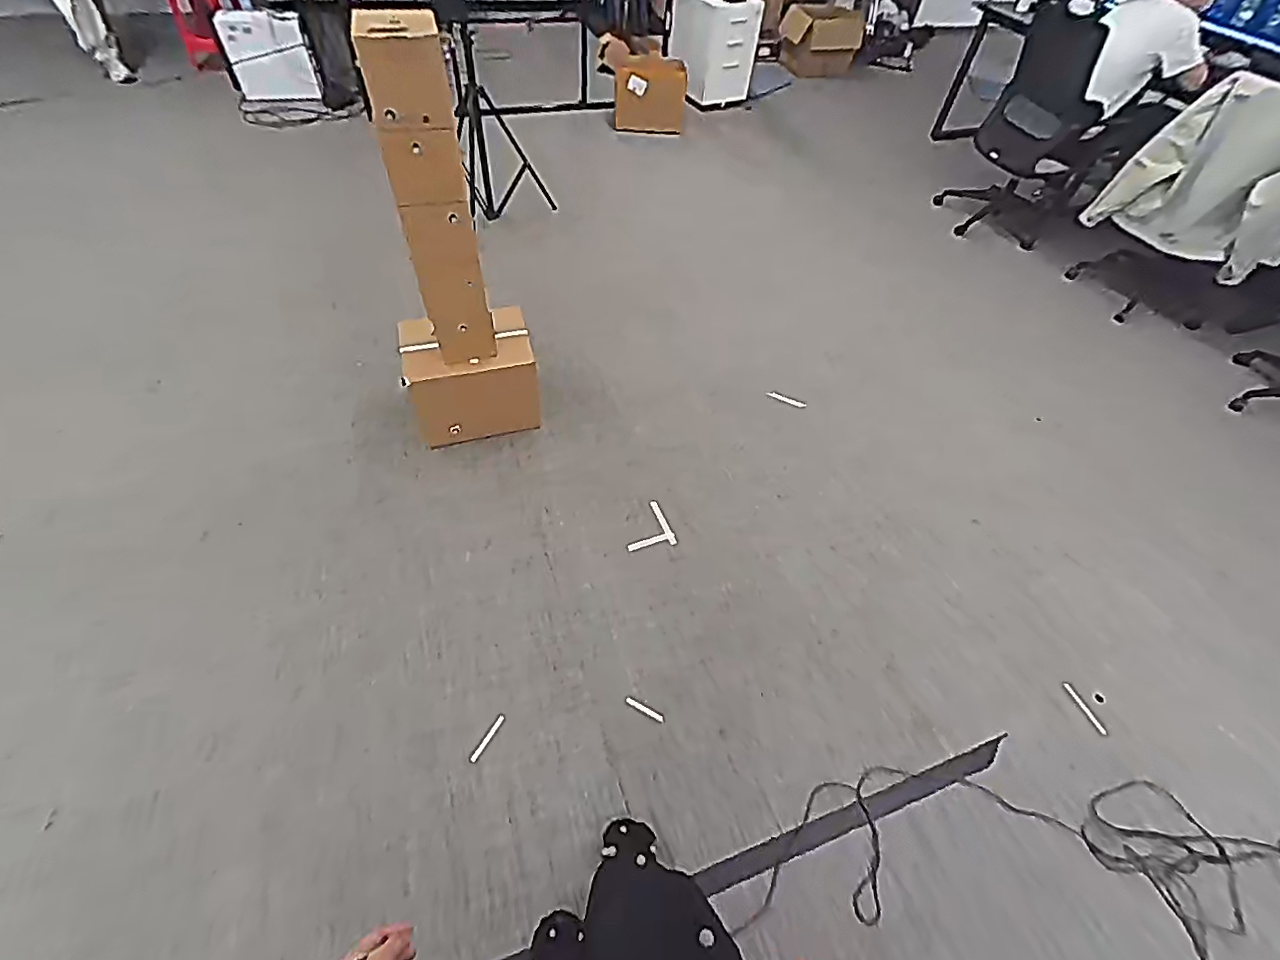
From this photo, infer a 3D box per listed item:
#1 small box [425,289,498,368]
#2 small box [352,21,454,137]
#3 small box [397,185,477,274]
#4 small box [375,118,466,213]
[{"bbox_3d":[-0.559,-0.473,1.701,0.179,0.176,0.168,-14,56,-17],"label":"small box"},{"bbox_3d":[-0.514,-0.873,1.184,0.168,0.176,0.179,-12,55,-13],"label":"small box"},{"bbox_3d":[-0.539,-0.674,1.441,0.179,0.176,0.168,-12,55,-14],"label":"small box"},{"bbox_3d":[-0.528,-0.773,1.313,0.179,0.176,0.168,-11,55,-13],"label":"small box"}]
